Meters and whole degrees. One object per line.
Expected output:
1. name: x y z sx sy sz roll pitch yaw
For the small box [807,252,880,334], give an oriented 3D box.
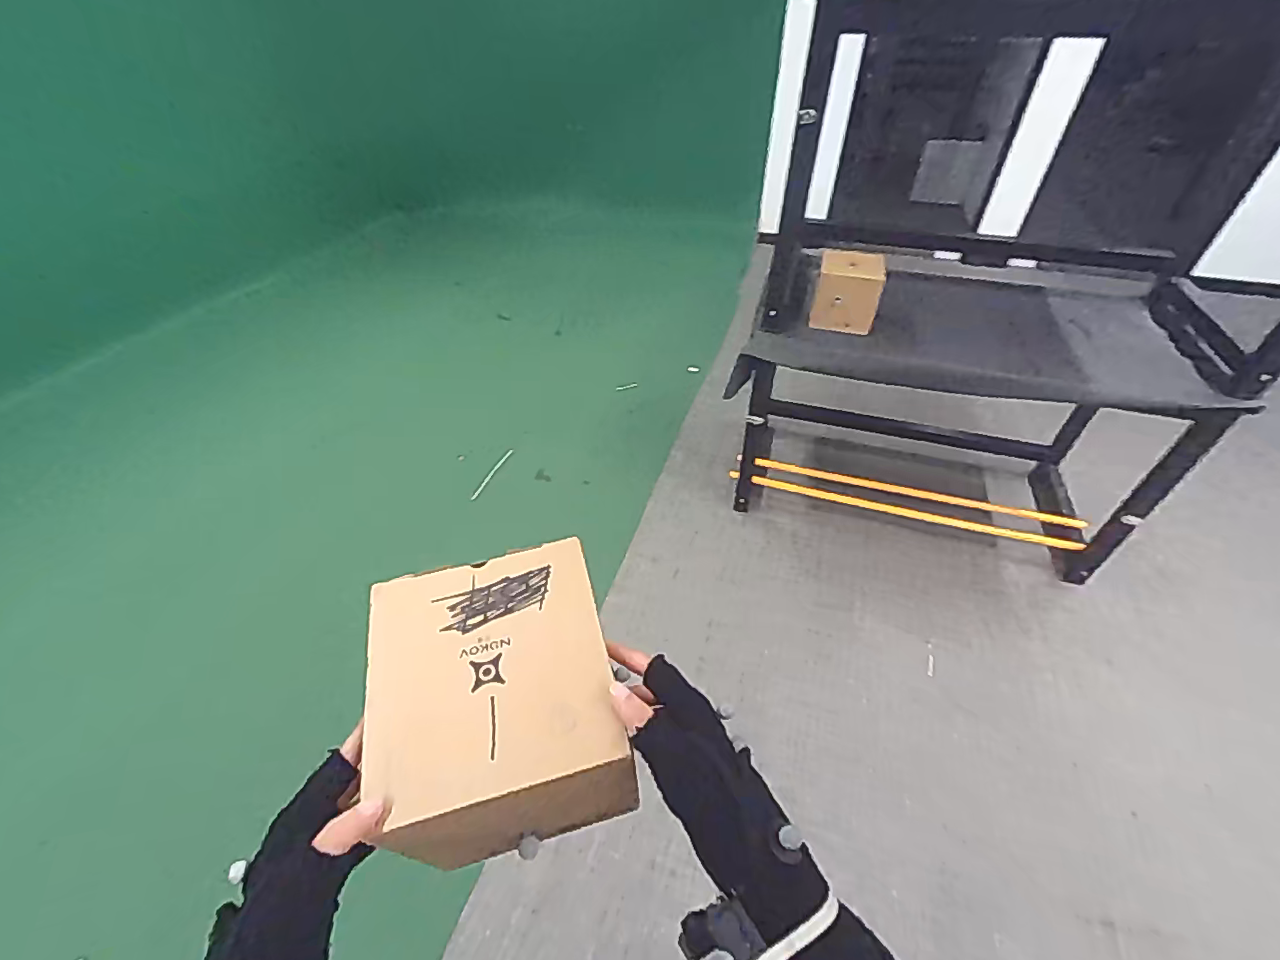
1. small box: 0.585 -0.538 1.560 0.168 0.176 0.179 11 44 12
